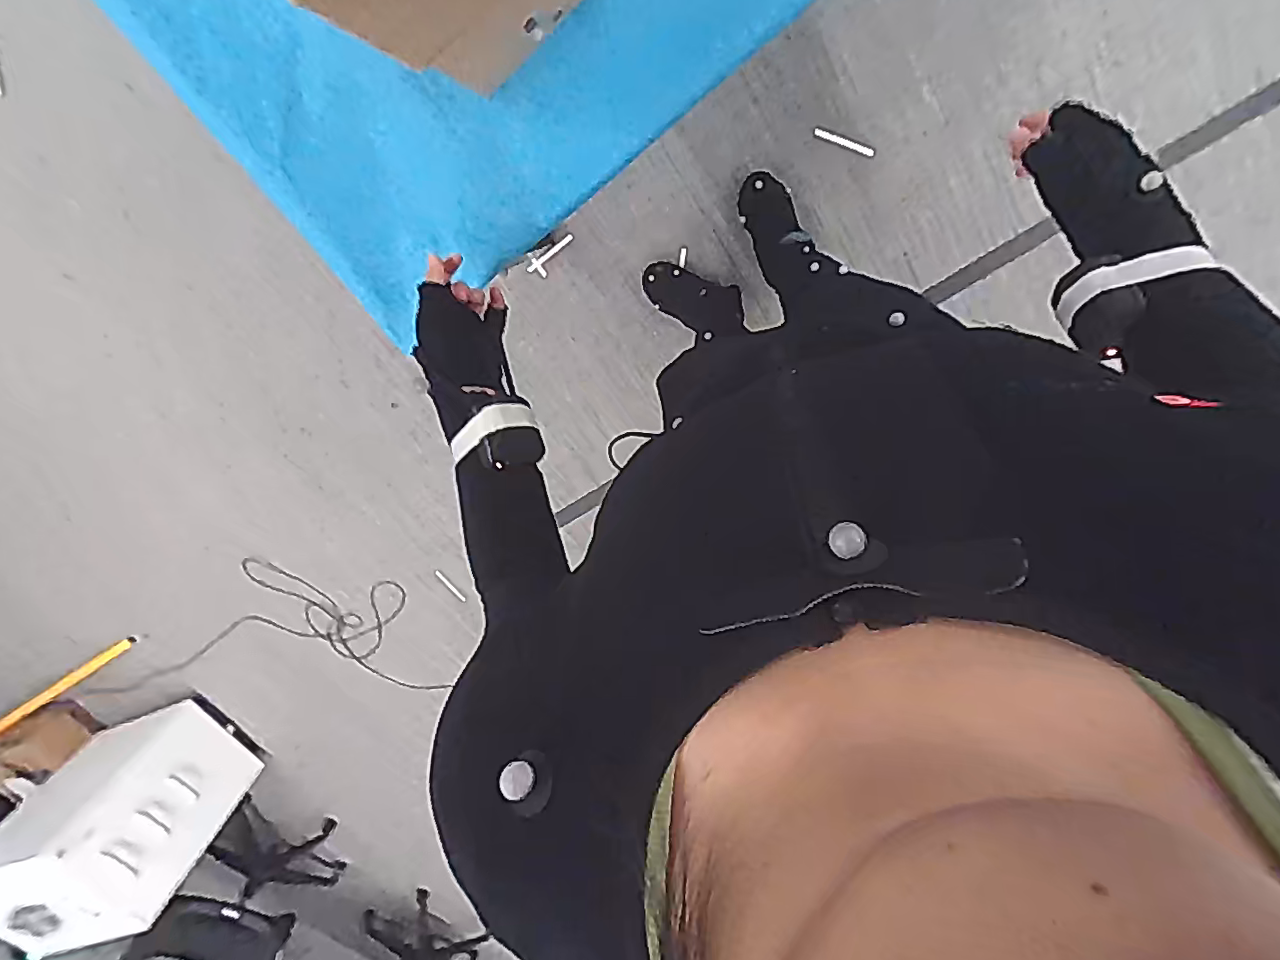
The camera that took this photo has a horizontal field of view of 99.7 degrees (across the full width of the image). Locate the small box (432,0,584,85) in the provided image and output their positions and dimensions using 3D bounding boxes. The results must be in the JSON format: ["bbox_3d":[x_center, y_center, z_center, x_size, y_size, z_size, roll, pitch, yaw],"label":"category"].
[{"bbox_3d":[-0.153,-0.465,0.436,0.168,0.176,0.179,-29,114,18],"label":"small box"}]

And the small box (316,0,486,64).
[{"bbox_3d":[-0.152,-0.381,0.291,0.179,0.176,0.168,-31,111,17],"label":"small box"}]
